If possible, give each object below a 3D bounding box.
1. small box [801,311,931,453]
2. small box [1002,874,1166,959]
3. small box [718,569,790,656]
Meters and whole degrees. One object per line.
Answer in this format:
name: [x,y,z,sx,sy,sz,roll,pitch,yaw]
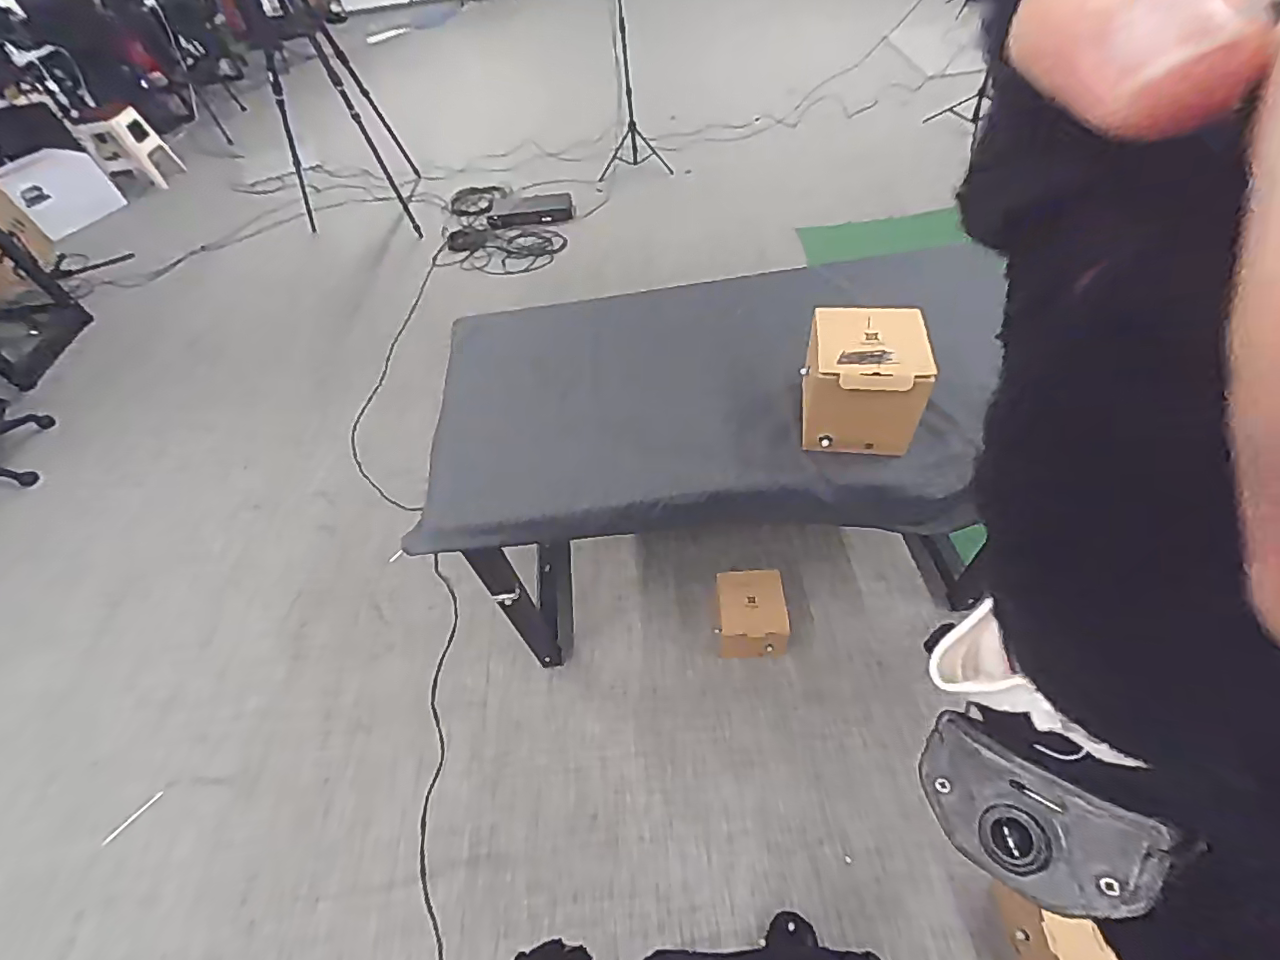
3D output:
small box: [0.366,-0.162,0.903,0.168,0.176,0.179,4,52,11]
small box: [0.803,0.832,0.995,0.179,0.176,0.168,-4,52,6]
small box: [0.297,0.358,1.438,0.168,0.176,0.179,-4,50,4]
